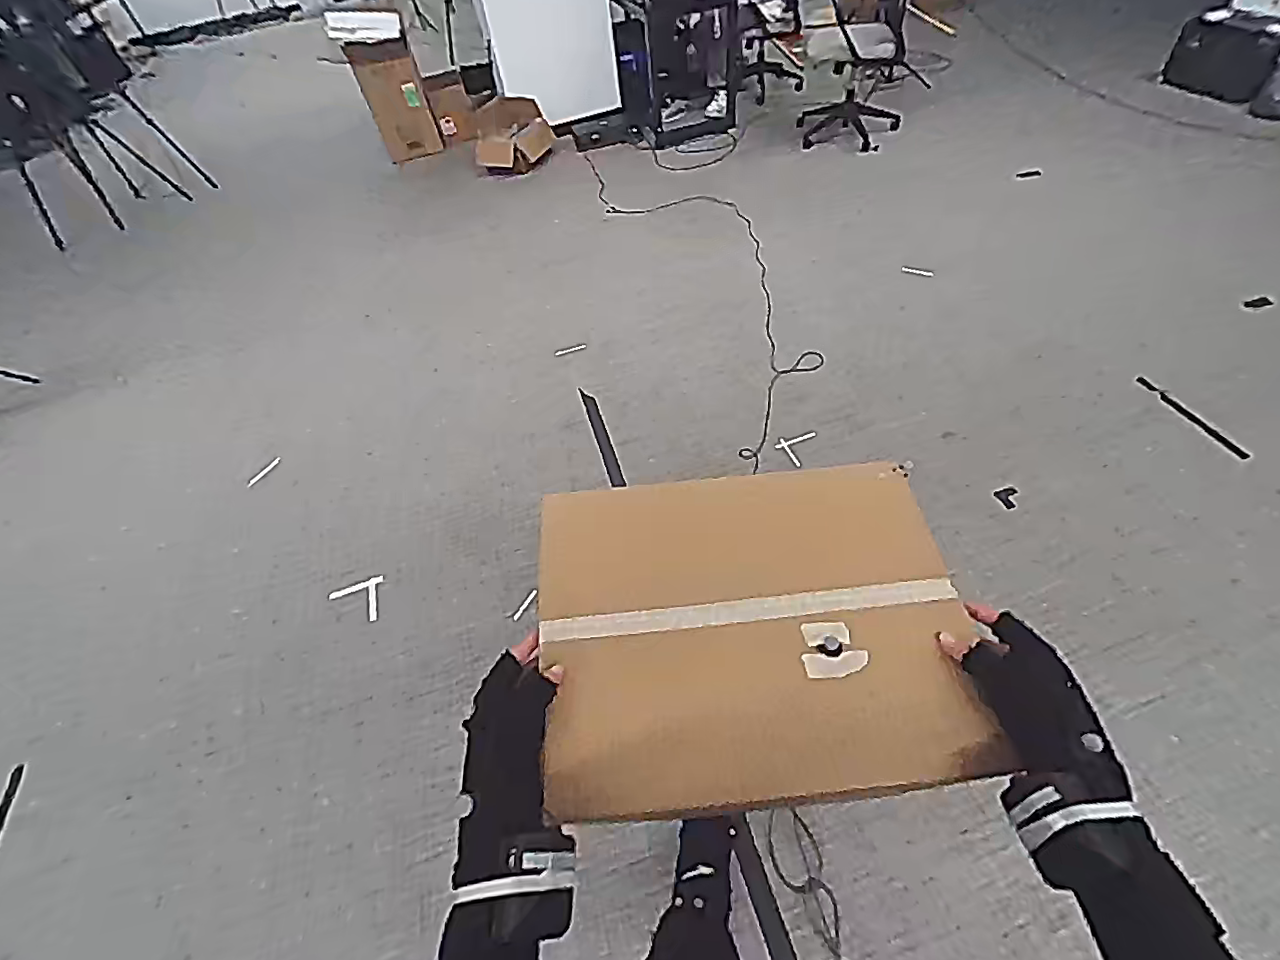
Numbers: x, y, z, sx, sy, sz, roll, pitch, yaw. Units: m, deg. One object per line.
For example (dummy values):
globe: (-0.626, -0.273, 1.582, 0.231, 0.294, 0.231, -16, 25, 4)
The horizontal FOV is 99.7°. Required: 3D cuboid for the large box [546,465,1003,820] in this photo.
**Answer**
large box: (0.109, 0.212, 0.665, 0.408, 0.320, 0.320, -5, 57, 0)
